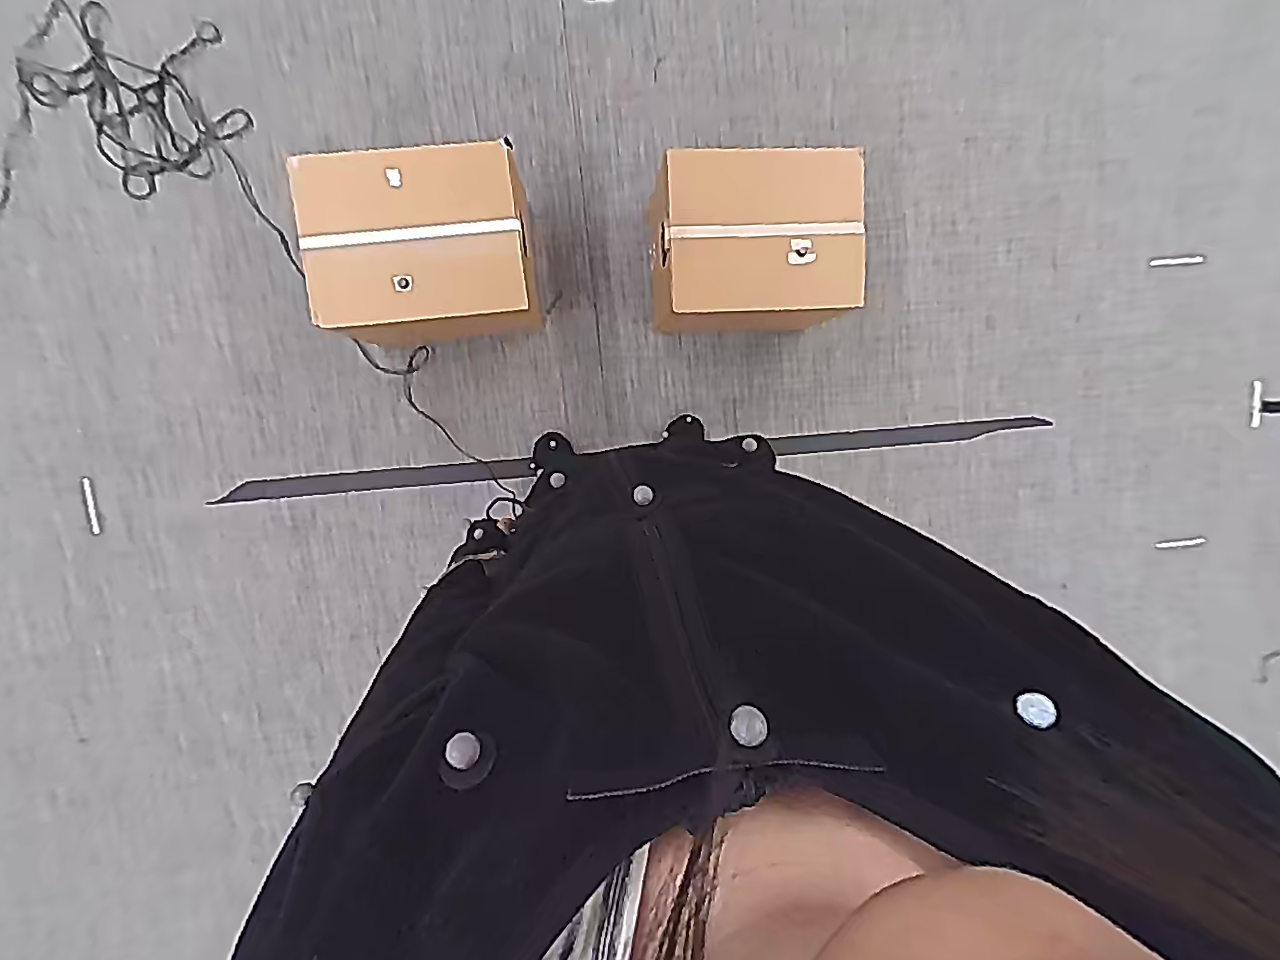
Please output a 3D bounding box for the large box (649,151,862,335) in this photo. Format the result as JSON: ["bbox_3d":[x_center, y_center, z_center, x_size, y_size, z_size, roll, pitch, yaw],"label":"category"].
[{"bbox_3d":[0.243,-0.520,1.244,0.408,0.320,0.320,-3,97,-6],"label":"large box"}]
